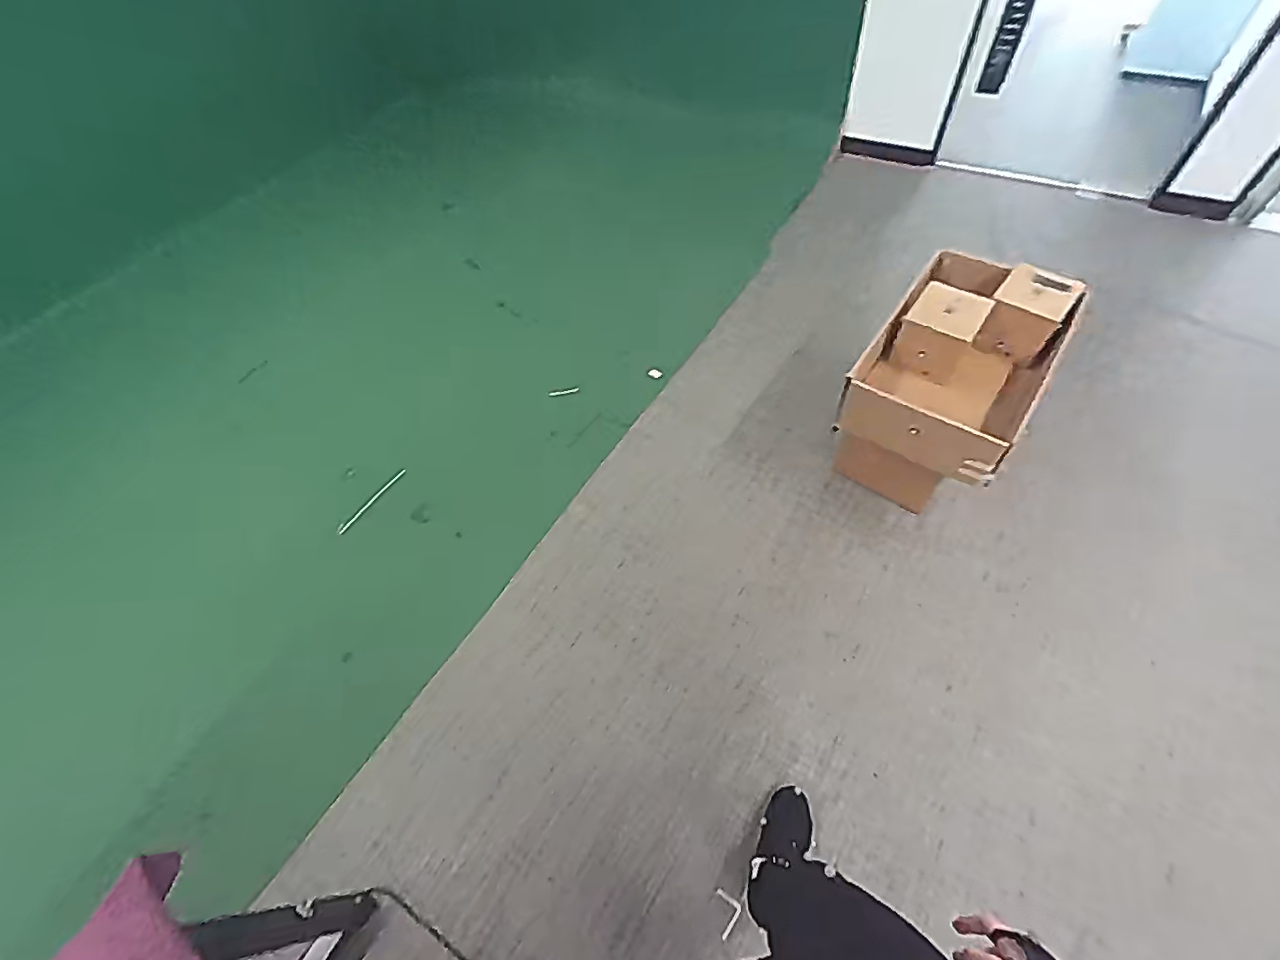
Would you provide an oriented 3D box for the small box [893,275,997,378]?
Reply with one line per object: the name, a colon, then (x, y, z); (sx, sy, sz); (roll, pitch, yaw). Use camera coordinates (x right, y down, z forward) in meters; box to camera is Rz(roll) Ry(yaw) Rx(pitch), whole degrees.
small box: (0.802, -0.404, 1.442); (0.168, 0.176, 0.179); (32, 67, 22)
